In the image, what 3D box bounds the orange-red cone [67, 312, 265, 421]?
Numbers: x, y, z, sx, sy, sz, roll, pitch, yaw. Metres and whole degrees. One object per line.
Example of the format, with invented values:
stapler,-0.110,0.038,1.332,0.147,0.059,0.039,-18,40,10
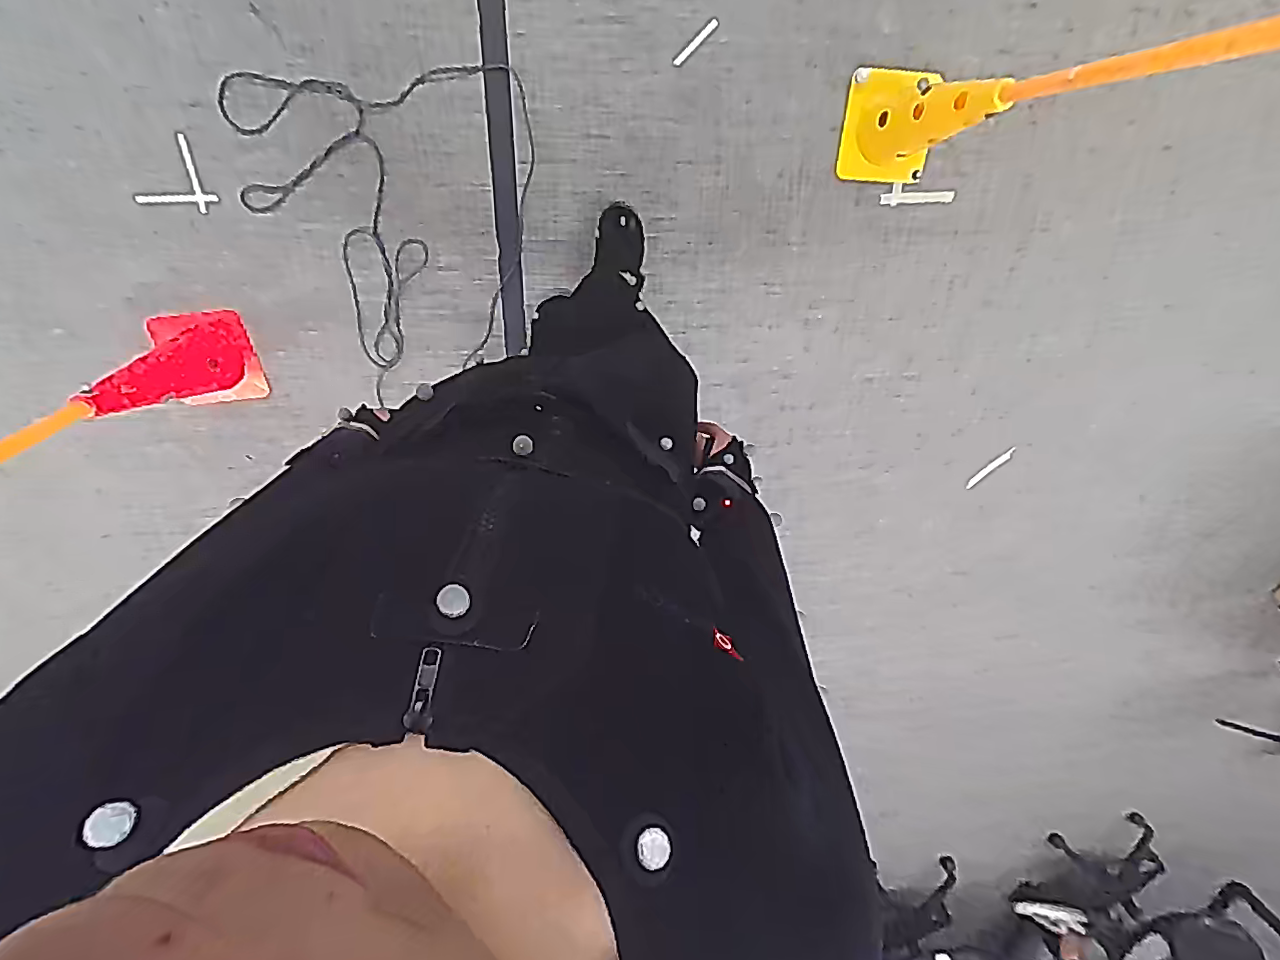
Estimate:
orange-red cone,-0.939,-0.191,1.042,0.199,0.360,0.198,-7,116,-5
